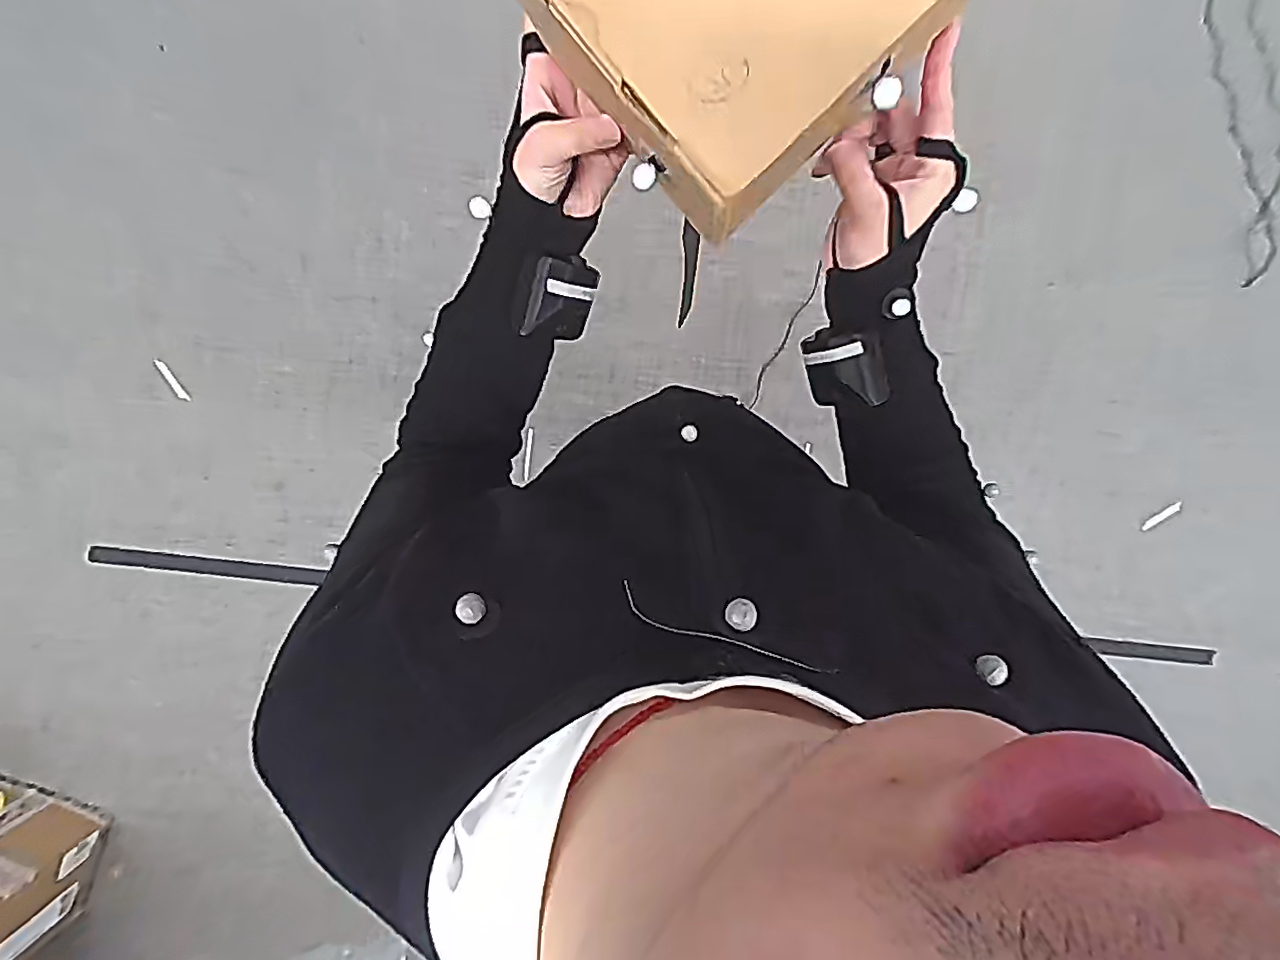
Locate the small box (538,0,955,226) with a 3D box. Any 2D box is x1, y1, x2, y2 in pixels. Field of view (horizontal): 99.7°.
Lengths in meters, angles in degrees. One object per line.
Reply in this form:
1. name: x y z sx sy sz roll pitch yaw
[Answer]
1. small box: 0.052 -0.252 0.257 0.179 0.176 0.168 -41 100 16
